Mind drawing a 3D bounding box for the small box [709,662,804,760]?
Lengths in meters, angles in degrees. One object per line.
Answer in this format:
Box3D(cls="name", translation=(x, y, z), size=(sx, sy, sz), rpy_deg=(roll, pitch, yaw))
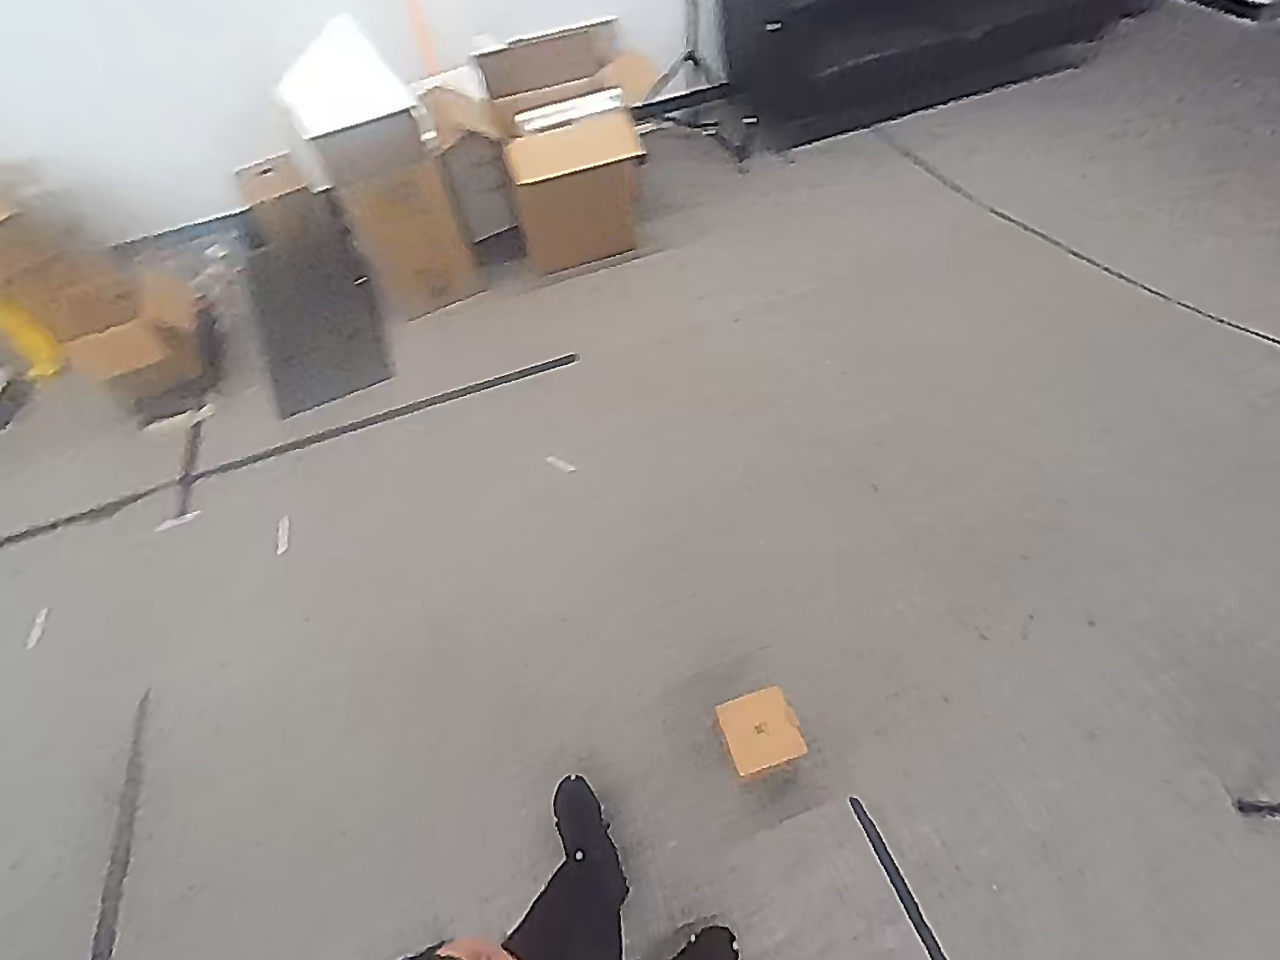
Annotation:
Box3D(cls="small box", translation=(0.279, 0.575, 1.339), size=(0.179, 0.176, 0.168), rpy_deg=(-16, 55, -6))
